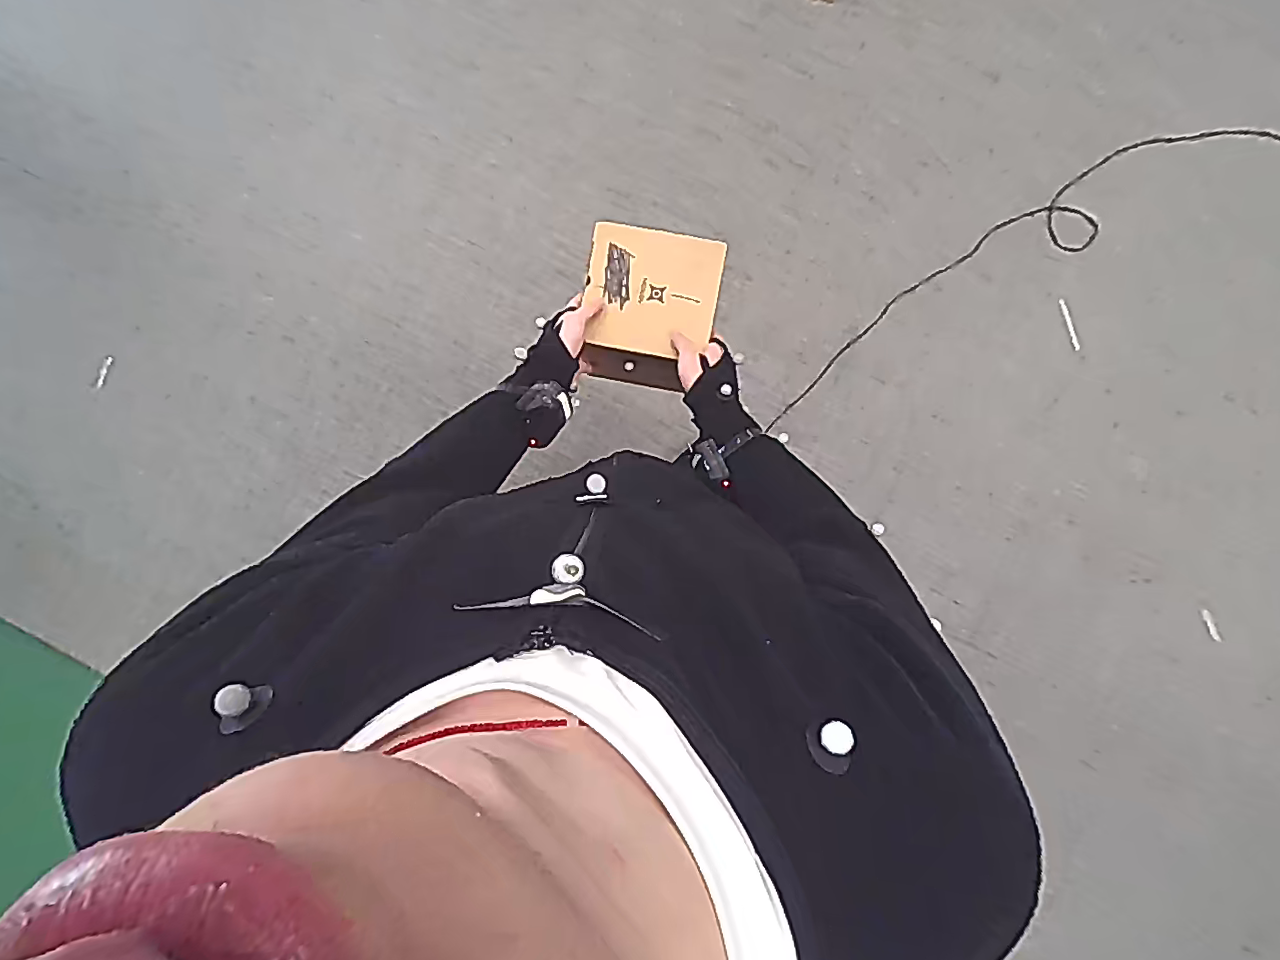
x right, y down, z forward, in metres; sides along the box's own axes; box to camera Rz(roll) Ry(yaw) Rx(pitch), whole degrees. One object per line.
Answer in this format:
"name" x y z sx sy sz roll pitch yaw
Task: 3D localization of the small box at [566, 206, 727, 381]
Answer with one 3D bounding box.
"small box" 0.012 -0.253 0.773 0.179 0.176 0.168 14 88 3
